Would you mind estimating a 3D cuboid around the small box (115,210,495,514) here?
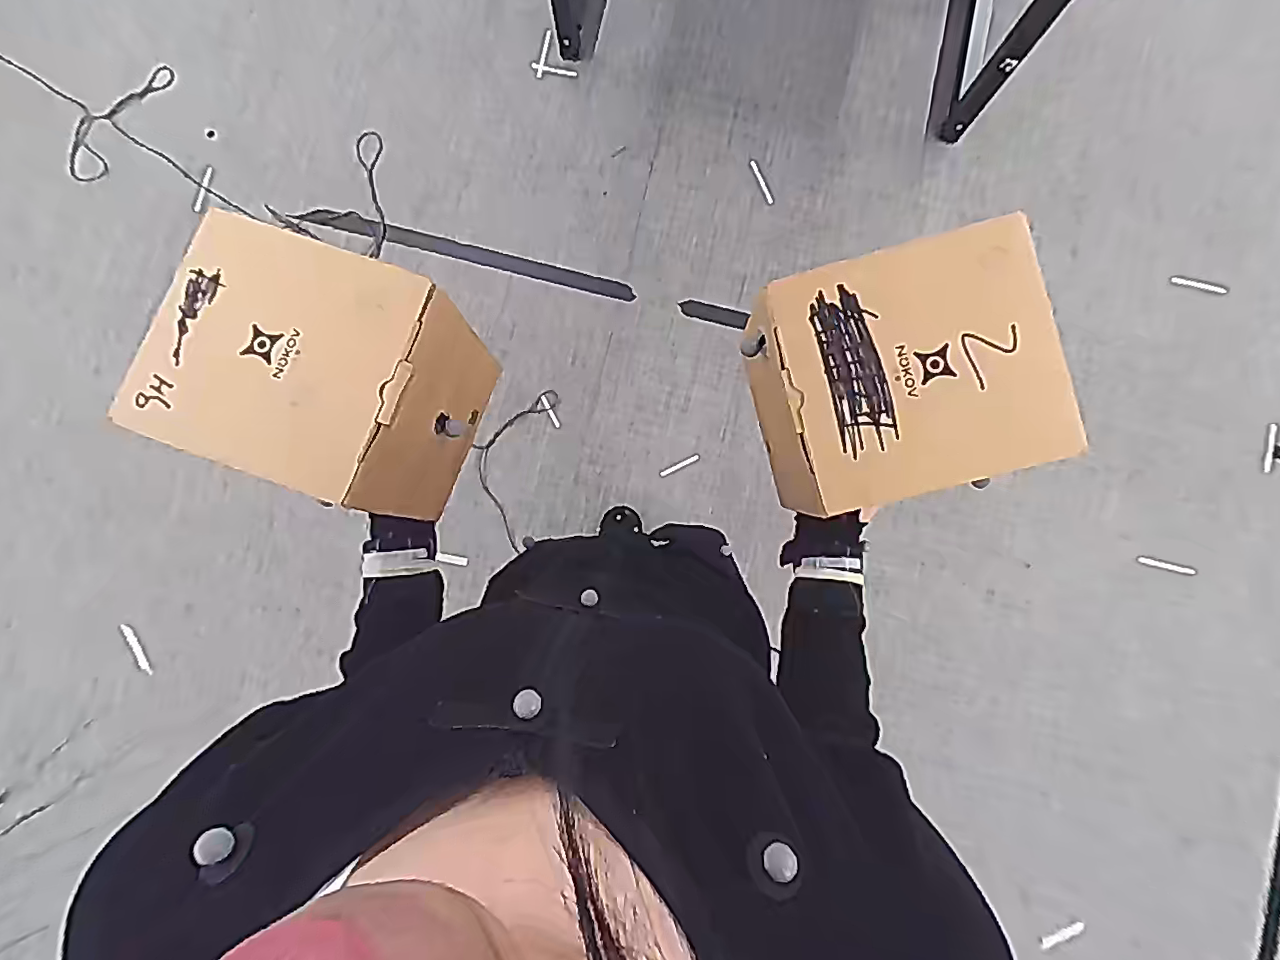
[{"bbox_3d":[-0.241,-0.076,0.444,0.179,0.176,0.168,20,83,2],"label":"small box"}]
